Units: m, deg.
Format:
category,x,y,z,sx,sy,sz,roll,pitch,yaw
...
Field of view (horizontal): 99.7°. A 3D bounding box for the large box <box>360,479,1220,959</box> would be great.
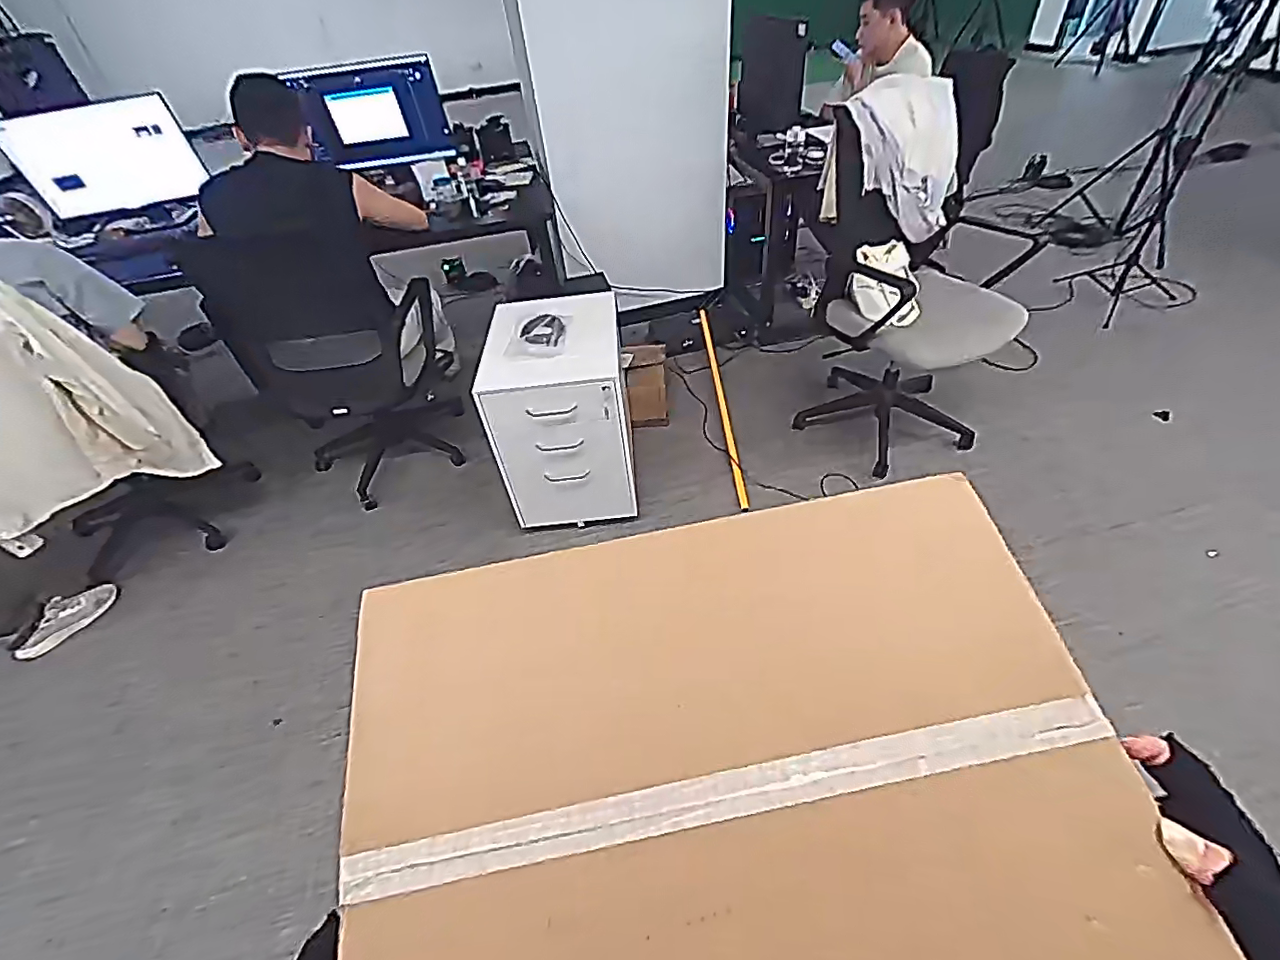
category,x,y,z,sx,sy,sz,roll,pitch,yaw
large box,0.059,0.242,0.420,0.408,0.320,0.320,-11,61,-1
